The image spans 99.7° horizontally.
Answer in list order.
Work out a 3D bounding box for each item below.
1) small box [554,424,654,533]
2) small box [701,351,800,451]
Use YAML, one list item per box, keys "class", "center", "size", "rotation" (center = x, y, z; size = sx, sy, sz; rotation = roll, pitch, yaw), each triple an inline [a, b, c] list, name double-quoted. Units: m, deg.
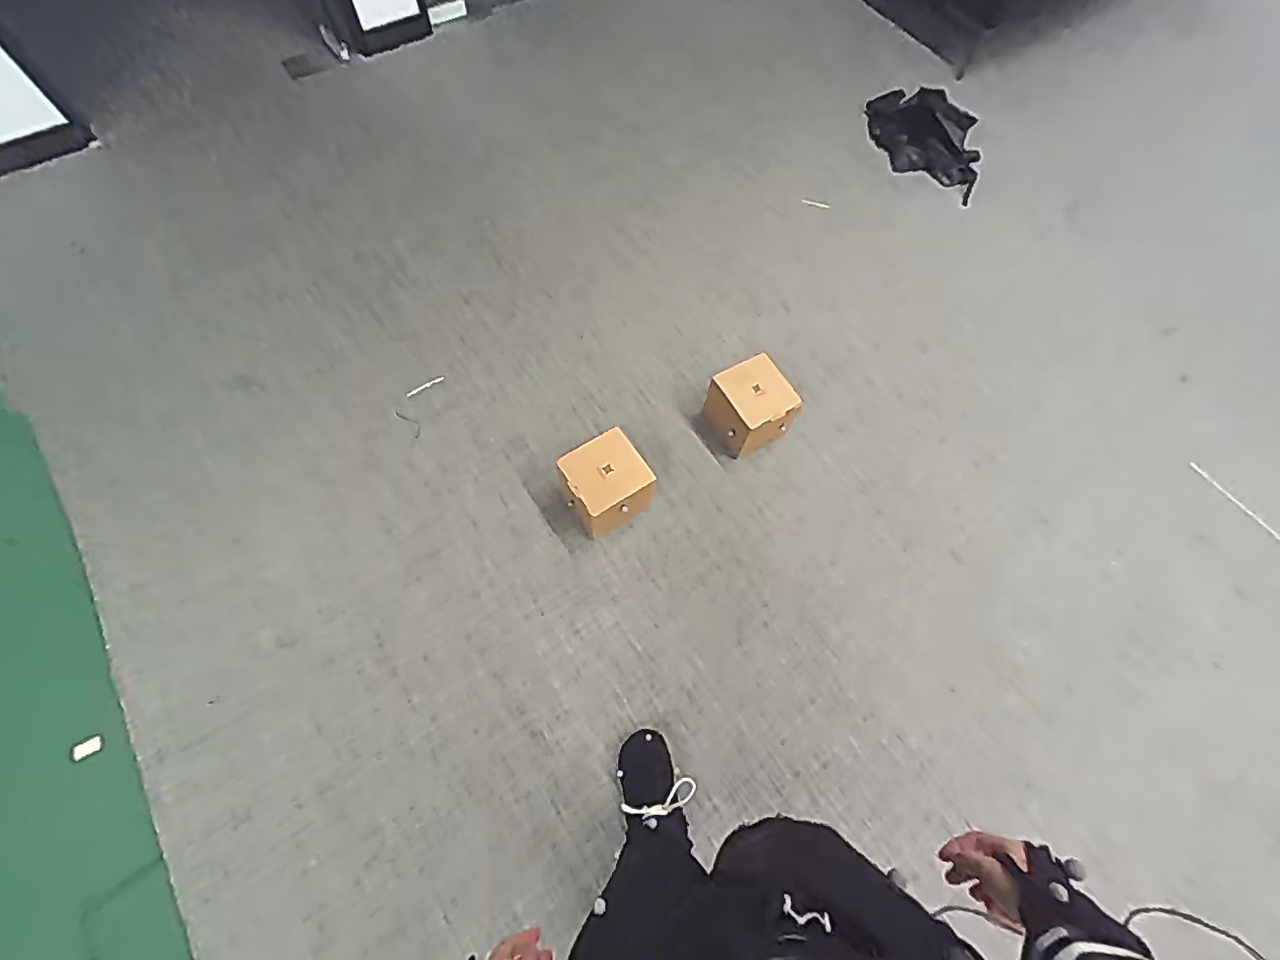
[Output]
- class: "small box"
  center: [-0.087, 0.001, 1.299]
  size: [0.179, 0.176, 0.168]
  rotation: [-31, 72, -15]
- class: "small box"
  center: [0.280, -0.196, 1.409]
  size: [0.168, 0.176, 0.179]
  rotation: [-27, 70, -16]
